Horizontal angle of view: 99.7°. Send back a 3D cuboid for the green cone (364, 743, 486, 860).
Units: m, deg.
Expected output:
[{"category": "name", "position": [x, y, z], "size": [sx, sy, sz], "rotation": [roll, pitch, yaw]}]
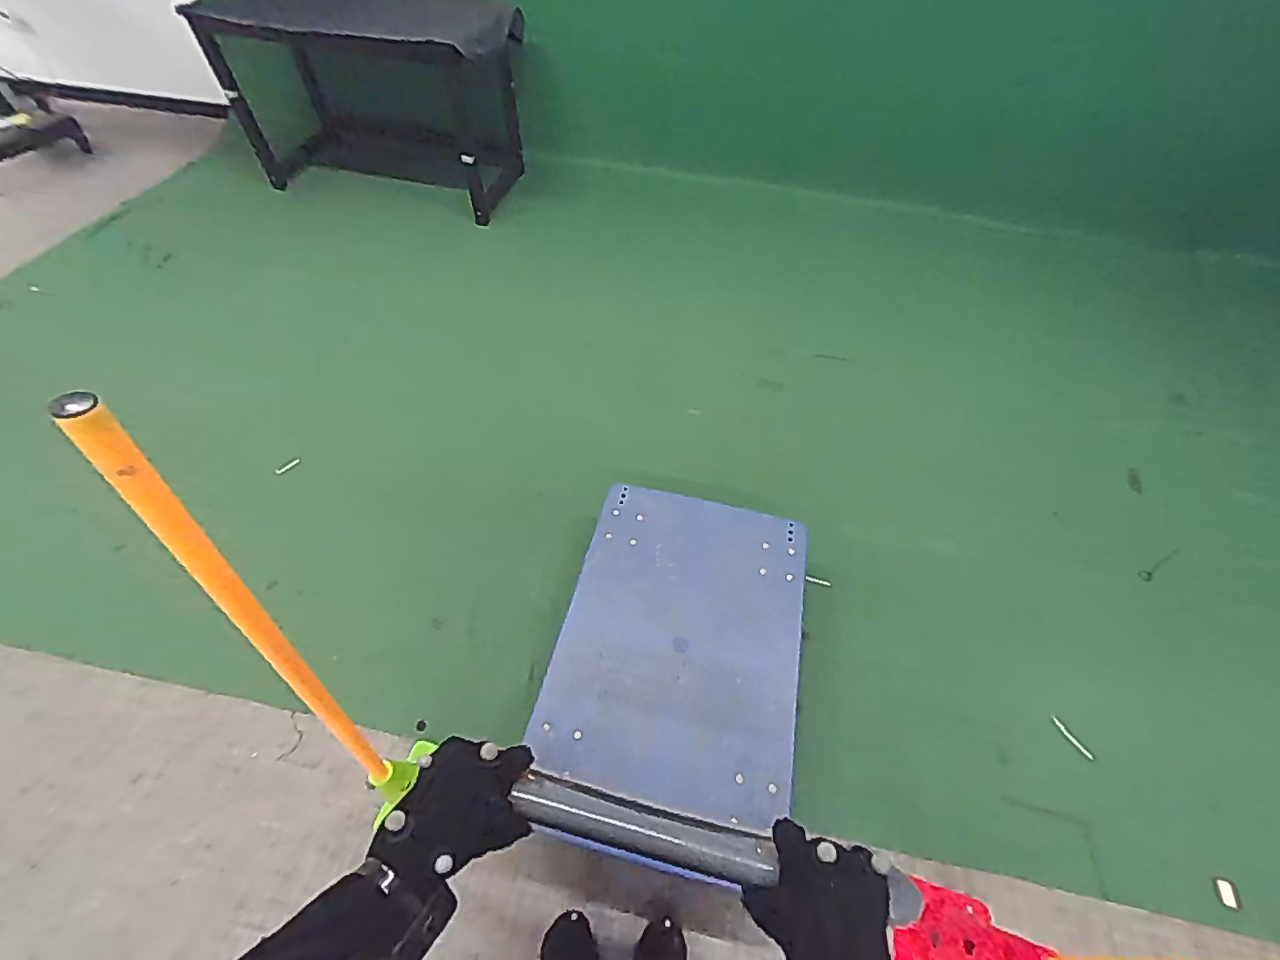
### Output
[{"category": "green cone", "position": [-0.473, 0.628, 1.109], "size": [0.202, 0.368, 0.200], "rotation": [14, 53, 9]}]
